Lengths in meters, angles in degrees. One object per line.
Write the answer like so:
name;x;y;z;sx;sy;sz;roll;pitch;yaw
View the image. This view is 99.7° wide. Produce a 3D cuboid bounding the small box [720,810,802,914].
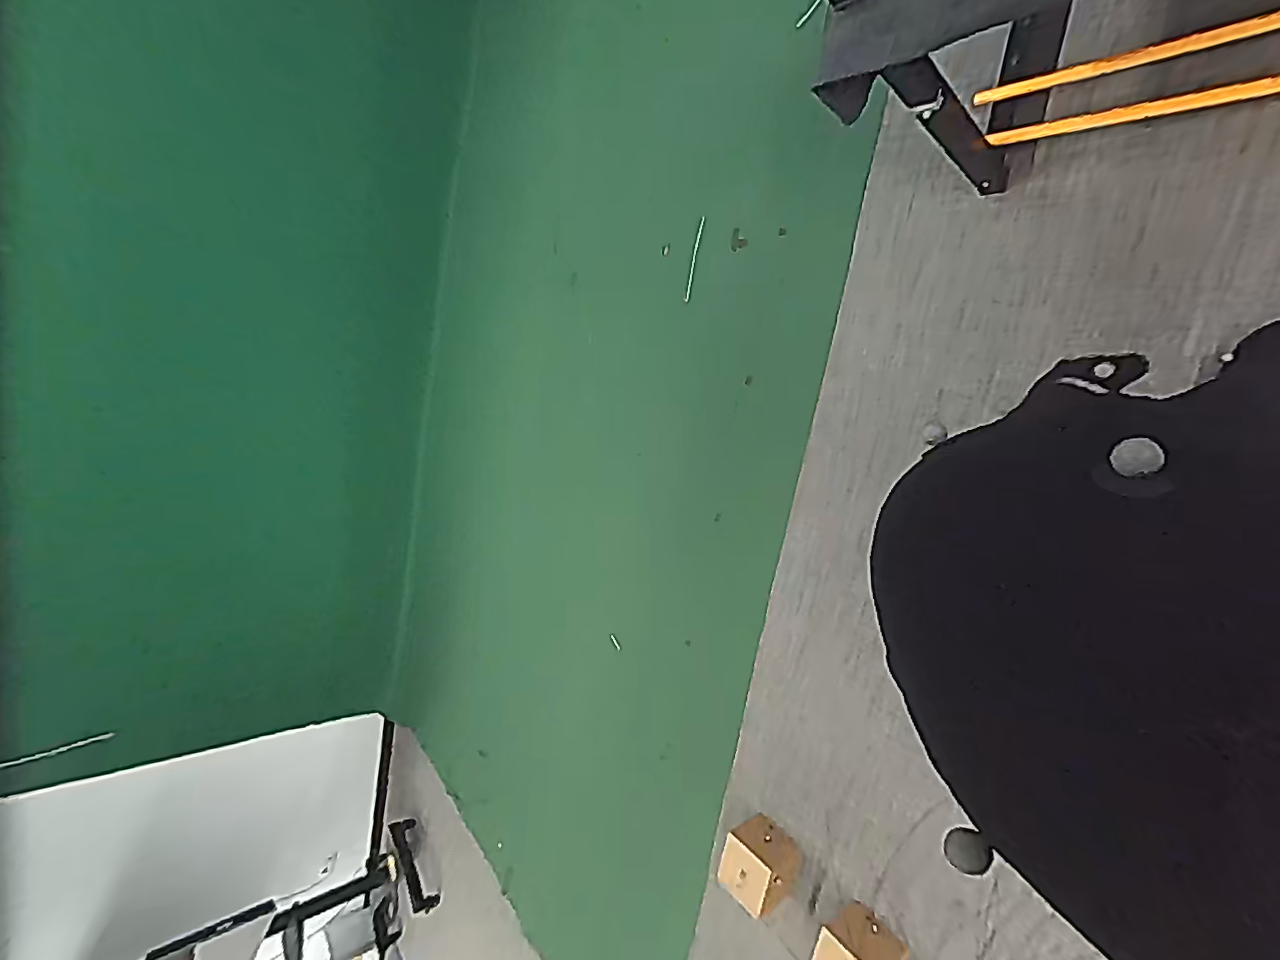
small box;0.380;1.177;1.685;0.168;0.176;0.179;21;104;47
